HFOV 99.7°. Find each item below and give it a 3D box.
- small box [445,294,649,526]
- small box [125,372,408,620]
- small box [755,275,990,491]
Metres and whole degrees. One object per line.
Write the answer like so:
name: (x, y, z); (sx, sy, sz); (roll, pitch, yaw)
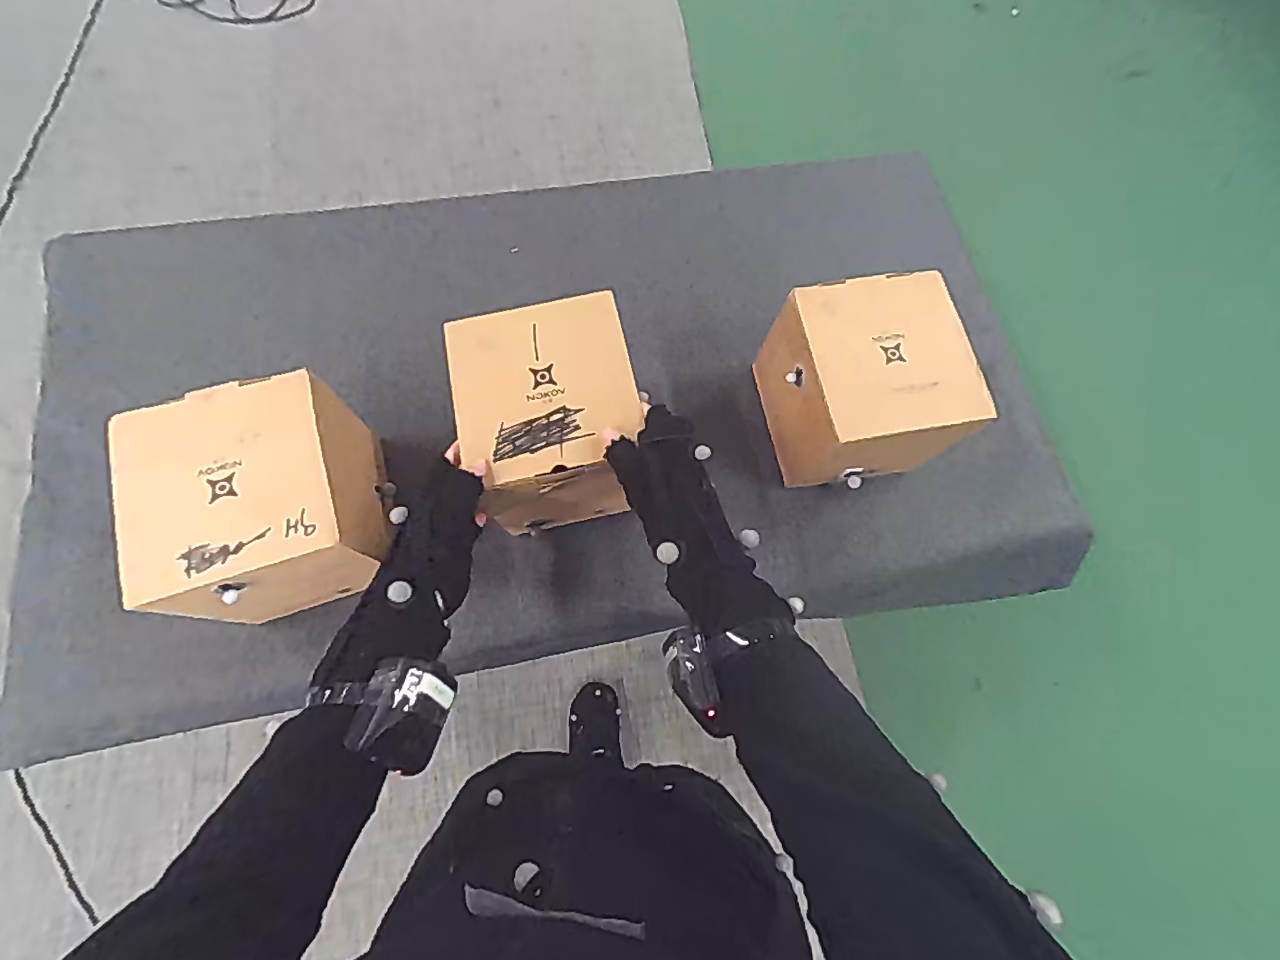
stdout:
small box: (-0.087, -0.058, 0.568); (0.168, 0.176, 0.179); (-12, 71, -3)
small box: (-0.353, 0.026, 0.538); (0.168, 0.176, 0.179); (-17, 72, -8)
small box: (0.246, -0.103, 0.623); (0.168, 0.176, 0.179); (-10, 74, -5)
